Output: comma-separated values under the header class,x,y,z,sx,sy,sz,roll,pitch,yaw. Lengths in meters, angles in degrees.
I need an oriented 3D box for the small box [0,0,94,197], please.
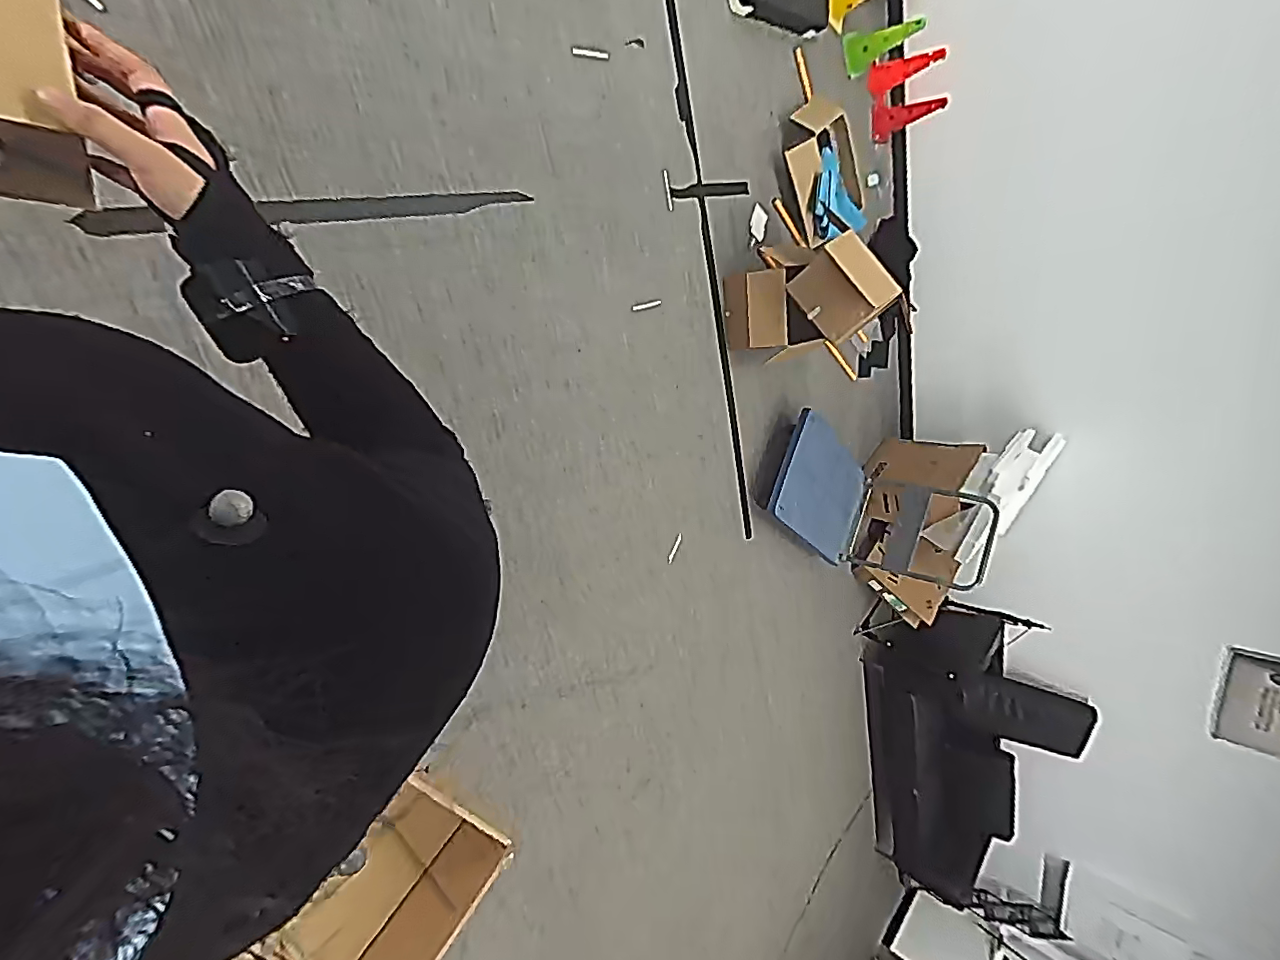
class,x,y,z,sx,sy,sz,roll,pitch,yaw
small box,-0.484,-0.303,0.346,0.179,0.176,0.168,-10,101,-41
